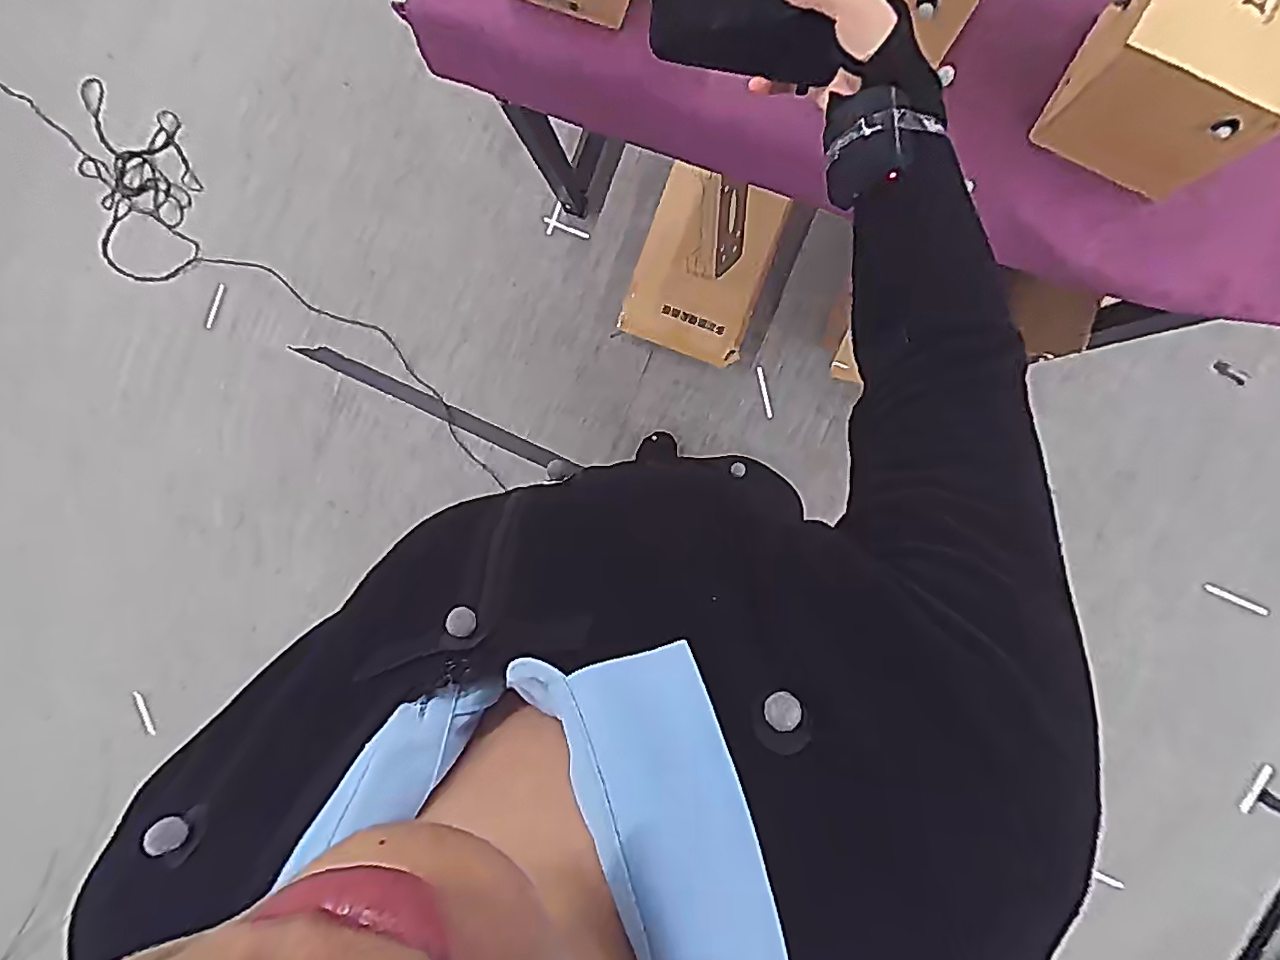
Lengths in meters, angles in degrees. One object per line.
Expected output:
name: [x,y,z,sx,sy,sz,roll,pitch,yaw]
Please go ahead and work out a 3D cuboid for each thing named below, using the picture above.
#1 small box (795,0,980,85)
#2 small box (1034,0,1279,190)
small box: [0.294,-0.587,0.597,0.179,0.176,0.168,22,94,5]
small box: [0.580,-0.447,0.574,0.179,0.176,0.168,29,97,4]
